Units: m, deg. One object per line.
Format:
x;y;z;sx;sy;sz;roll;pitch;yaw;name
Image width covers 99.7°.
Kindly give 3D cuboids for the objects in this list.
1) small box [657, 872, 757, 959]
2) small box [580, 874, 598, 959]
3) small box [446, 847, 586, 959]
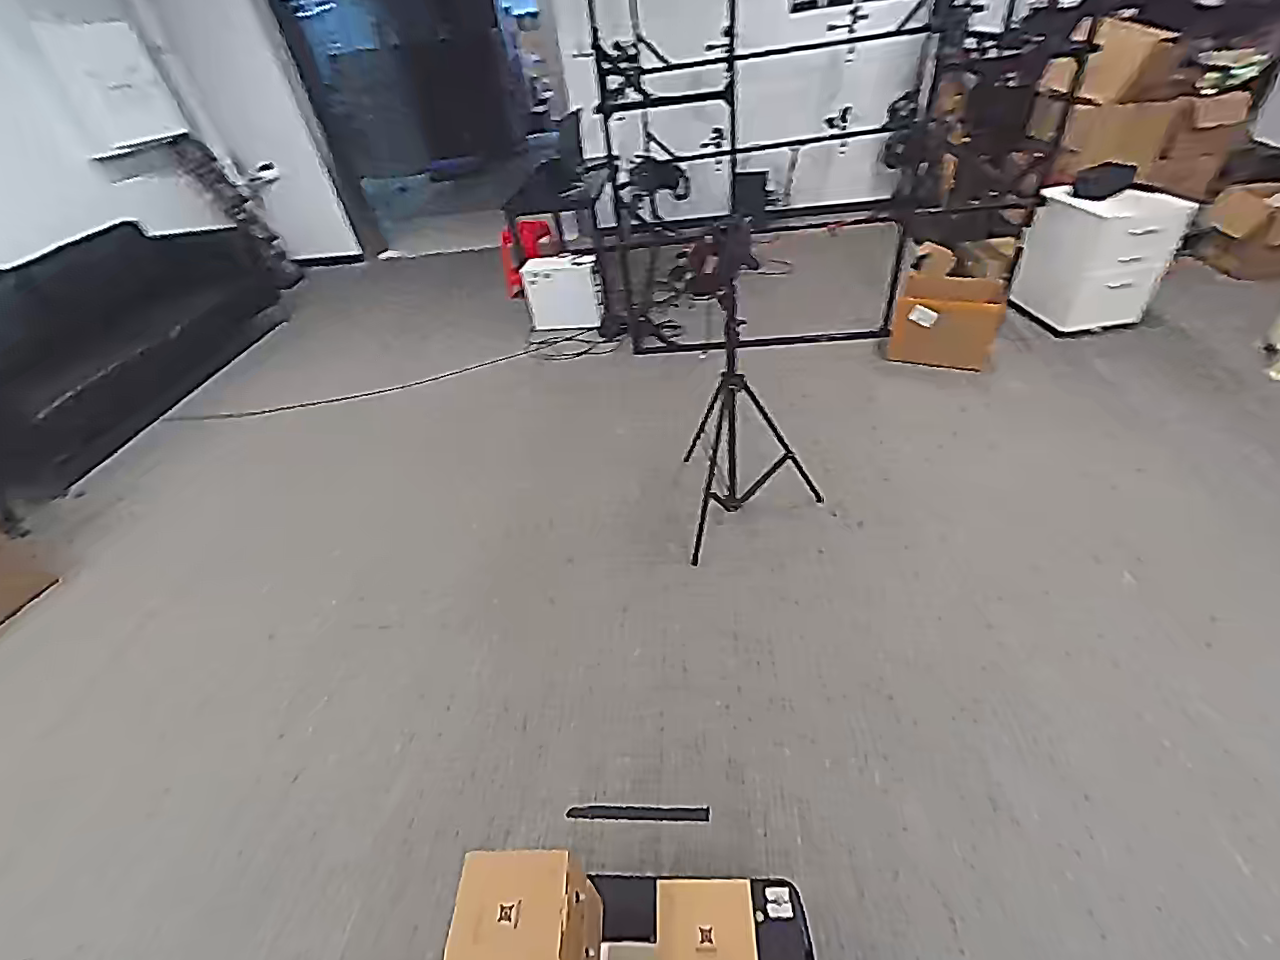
0.119;0.819;0.950;0.168;0.176;0.179;-5;40;7;small box
-0.169;0.838;0.982;0.179;0.176;0.168;-5;41;5;small box
-0.188;0.715;0.875;0.179;0.176;0.168;-5;39;4;small box
